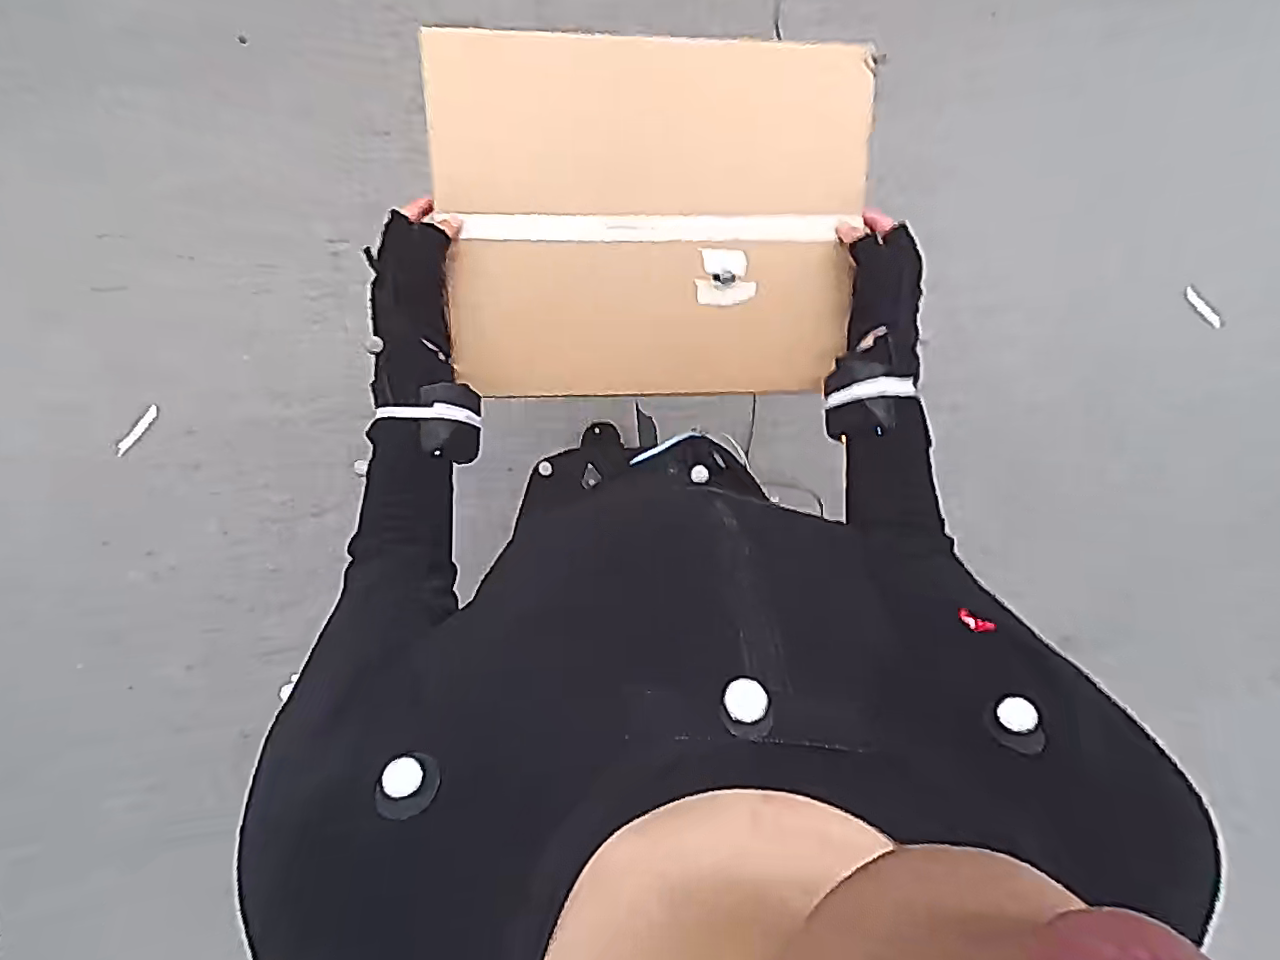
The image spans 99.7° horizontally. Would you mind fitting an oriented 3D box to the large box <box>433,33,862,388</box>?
[{"bbox_3d":[-0.001,-0.284,0.672,0.408,0.320,0.320,-1,104,-6],"label":"large box"}]
